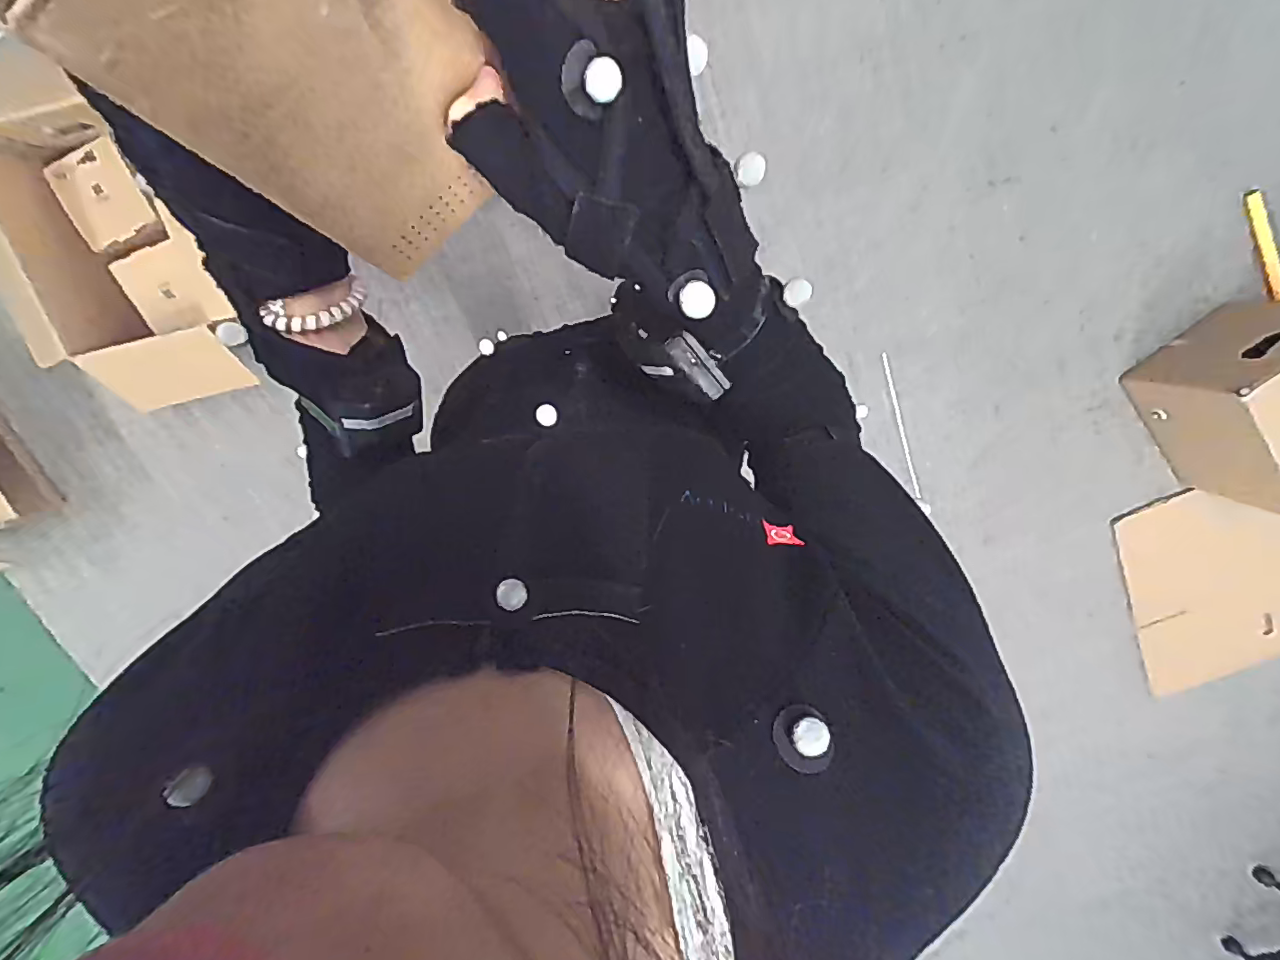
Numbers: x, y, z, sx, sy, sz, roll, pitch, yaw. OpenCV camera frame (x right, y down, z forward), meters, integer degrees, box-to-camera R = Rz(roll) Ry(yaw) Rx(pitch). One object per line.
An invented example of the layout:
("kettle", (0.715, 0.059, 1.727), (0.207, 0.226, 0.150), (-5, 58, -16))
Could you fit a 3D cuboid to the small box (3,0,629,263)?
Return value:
("small box", (-0.123, -0.221, 0.206), (0.179, 0.176, 0.168), (-44, 86, 5))
